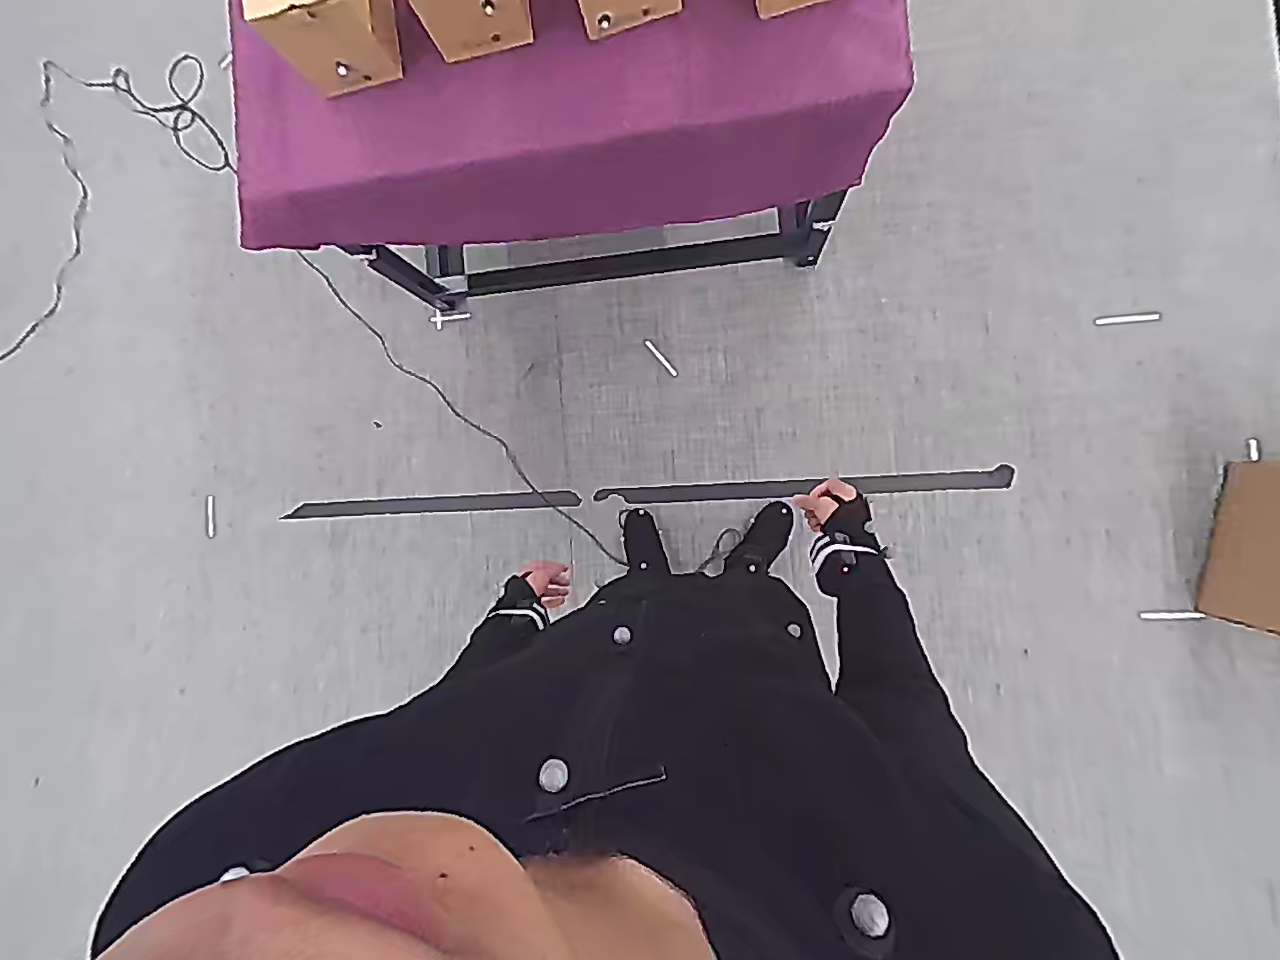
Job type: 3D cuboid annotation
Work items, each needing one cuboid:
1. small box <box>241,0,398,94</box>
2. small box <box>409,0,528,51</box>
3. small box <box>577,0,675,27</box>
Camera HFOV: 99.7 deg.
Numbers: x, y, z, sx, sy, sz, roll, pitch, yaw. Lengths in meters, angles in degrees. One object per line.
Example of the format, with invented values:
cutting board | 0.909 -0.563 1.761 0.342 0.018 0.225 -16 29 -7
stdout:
small box | -0.537 -0.810 0.915 0.168 0.176 0.179 -8 88 9
small box | -0.291 -0.849 0.883 0.168 0.176 0.179 -7 88 8
small box | -0.042 -0.864 0.845 0.168 0.176 0.179 -13 87 8
